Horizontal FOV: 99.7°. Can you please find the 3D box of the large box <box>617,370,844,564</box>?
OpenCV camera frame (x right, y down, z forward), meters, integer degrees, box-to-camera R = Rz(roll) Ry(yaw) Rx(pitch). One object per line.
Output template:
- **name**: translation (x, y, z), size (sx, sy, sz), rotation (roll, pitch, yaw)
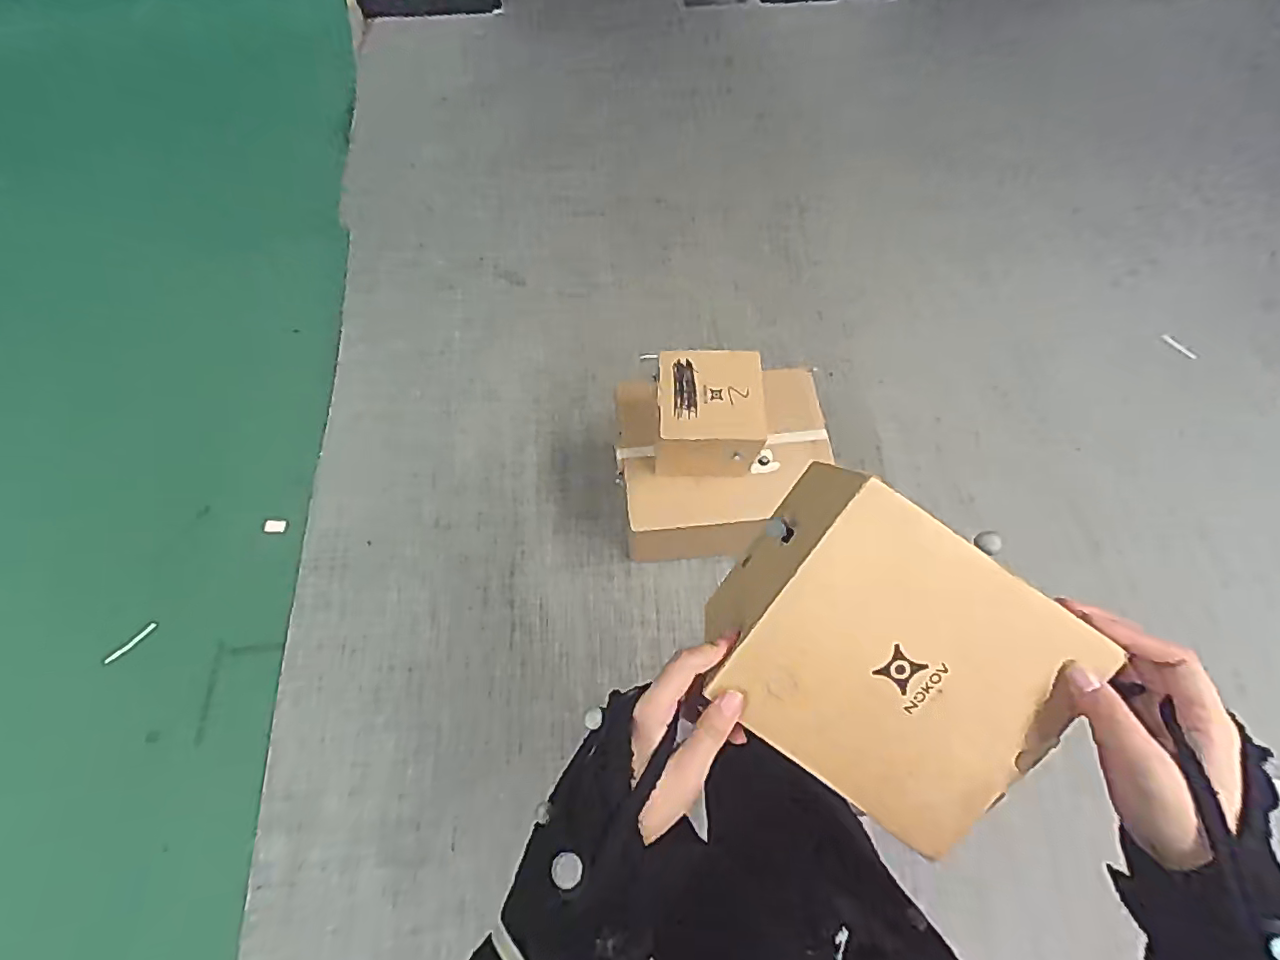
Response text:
- **large box**: translation (0.166, -0.013, 1.189), size (0.408, 0.320, 0.320), rotation (-5, 71, -3)
